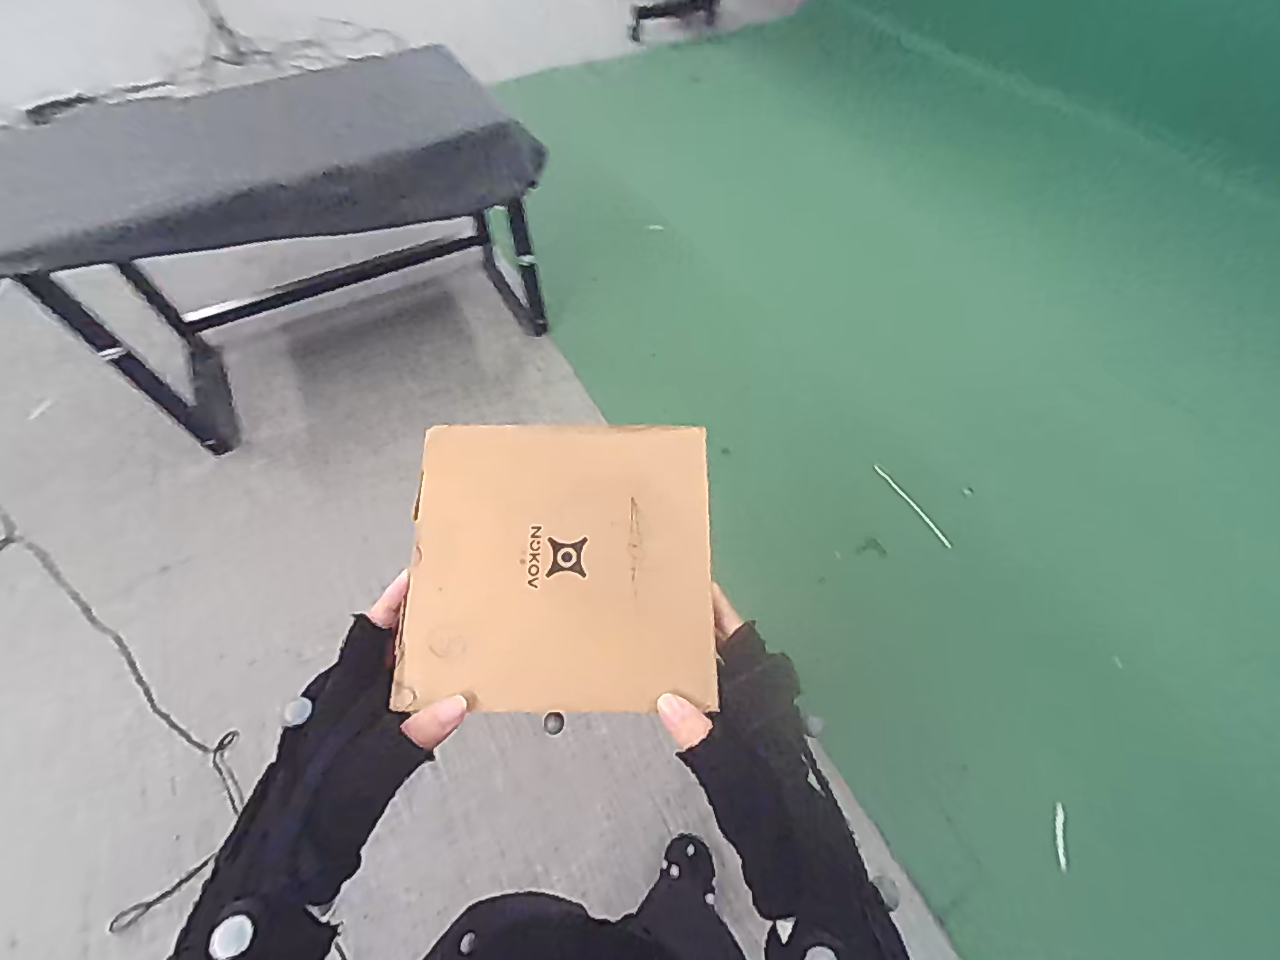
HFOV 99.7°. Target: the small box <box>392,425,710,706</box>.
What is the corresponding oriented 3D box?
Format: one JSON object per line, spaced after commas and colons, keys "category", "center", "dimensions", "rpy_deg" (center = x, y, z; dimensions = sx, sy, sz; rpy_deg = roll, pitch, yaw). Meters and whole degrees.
{"category": "small box", "center": [-0.051, 0.069, 0.392], "dimensions": [0.179, 0.176, 0.168], "rpy_deg": [-1, 72, -2]}
